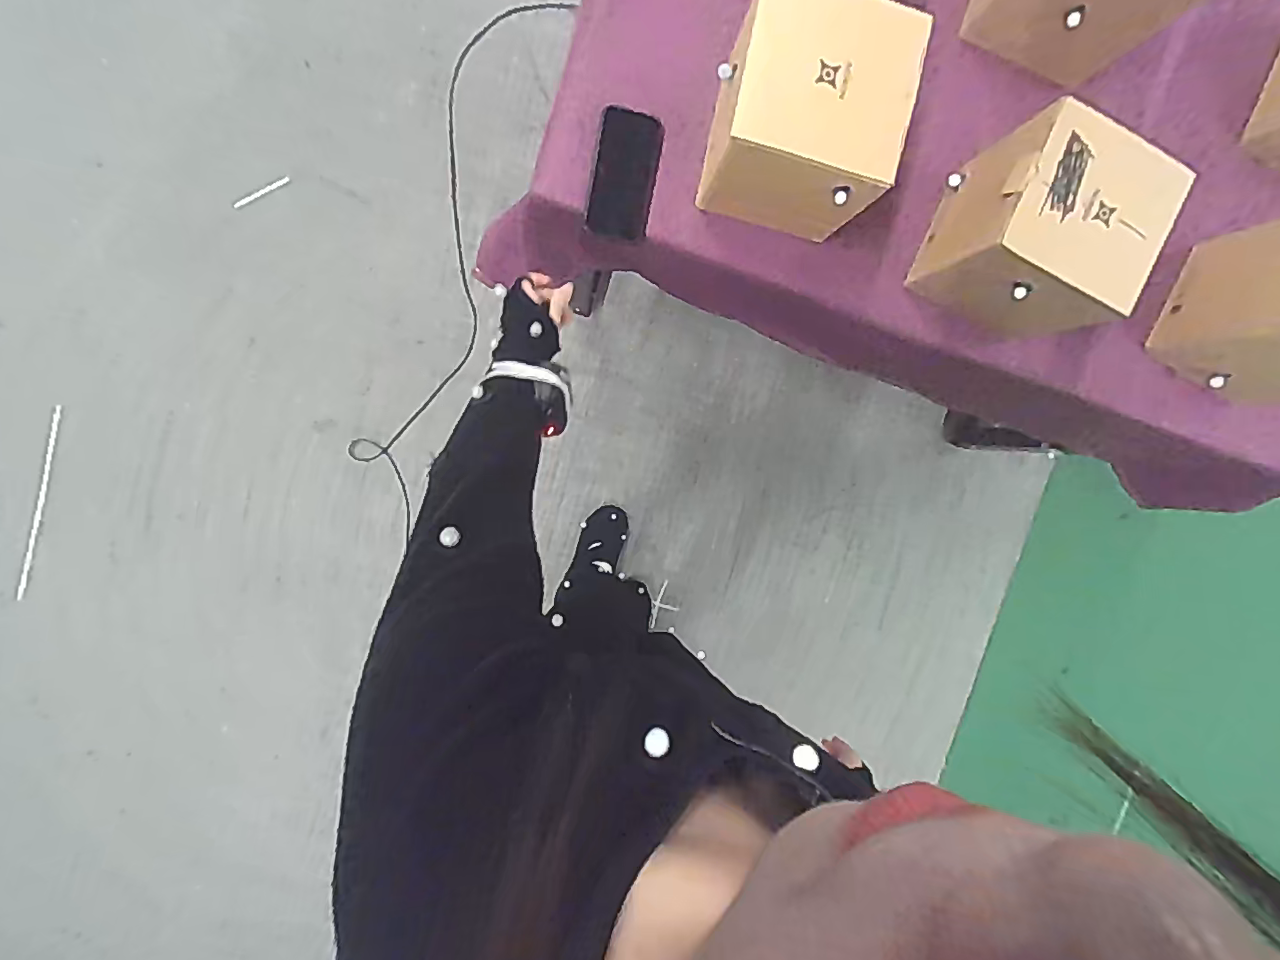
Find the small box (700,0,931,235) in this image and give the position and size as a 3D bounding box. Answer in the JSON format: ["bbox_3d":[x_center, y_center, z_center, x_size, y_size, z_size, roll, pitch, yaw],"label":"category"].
[{"bbox_3d":[0.179,-0.401,0.608,0.179,0.176,0.168,11,94,-9],"label":"small box"}]

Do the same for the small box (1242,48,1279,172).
[{"bbox_3d":[0.942,-0.511,0.682,0.168,0.176,0.179,21,94,-7],"label":"small box"}]

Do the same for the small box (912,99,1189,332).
[{"bbox_3d":[0.471,-0.294,0.650,0.179,0.176,0.168,23,93,-9],"label":"small box"}]

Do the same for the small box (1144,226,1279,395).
[{"bbox_3d":[0.831,-0.218,0.699,0.179,0.176,0.168,24,92,-8],"label":"small box"}]
